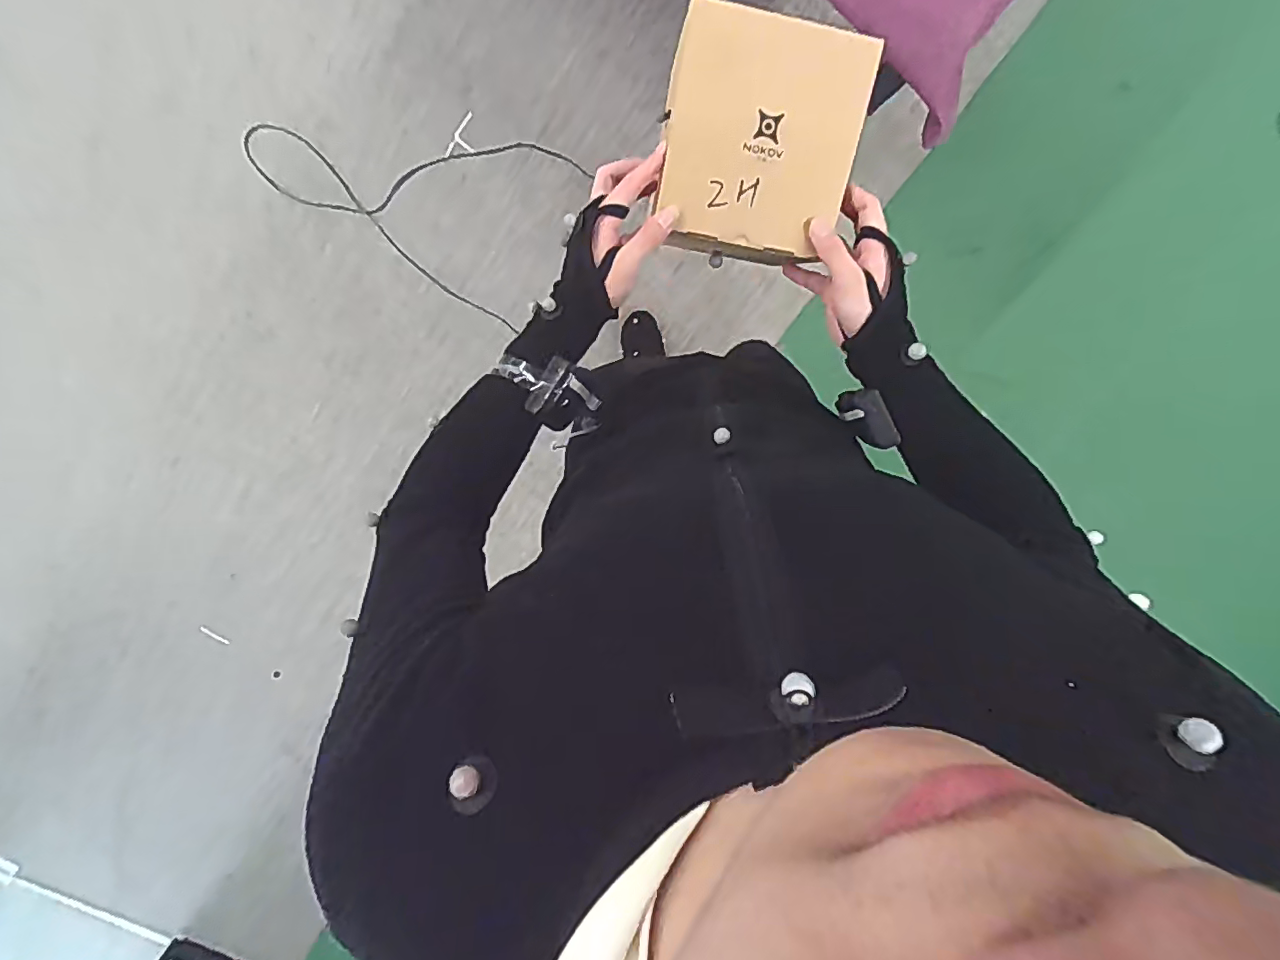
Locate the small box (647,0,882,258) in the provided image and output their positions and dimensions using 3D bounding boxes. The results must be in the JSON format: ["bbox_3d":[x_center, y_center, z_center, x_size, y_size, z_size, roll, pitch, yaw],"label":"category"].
[{"bbox_3d":[0.102,-0.331,0.540,0.168,0.176,0.179,9,110,-5],"label":"small box"}]
